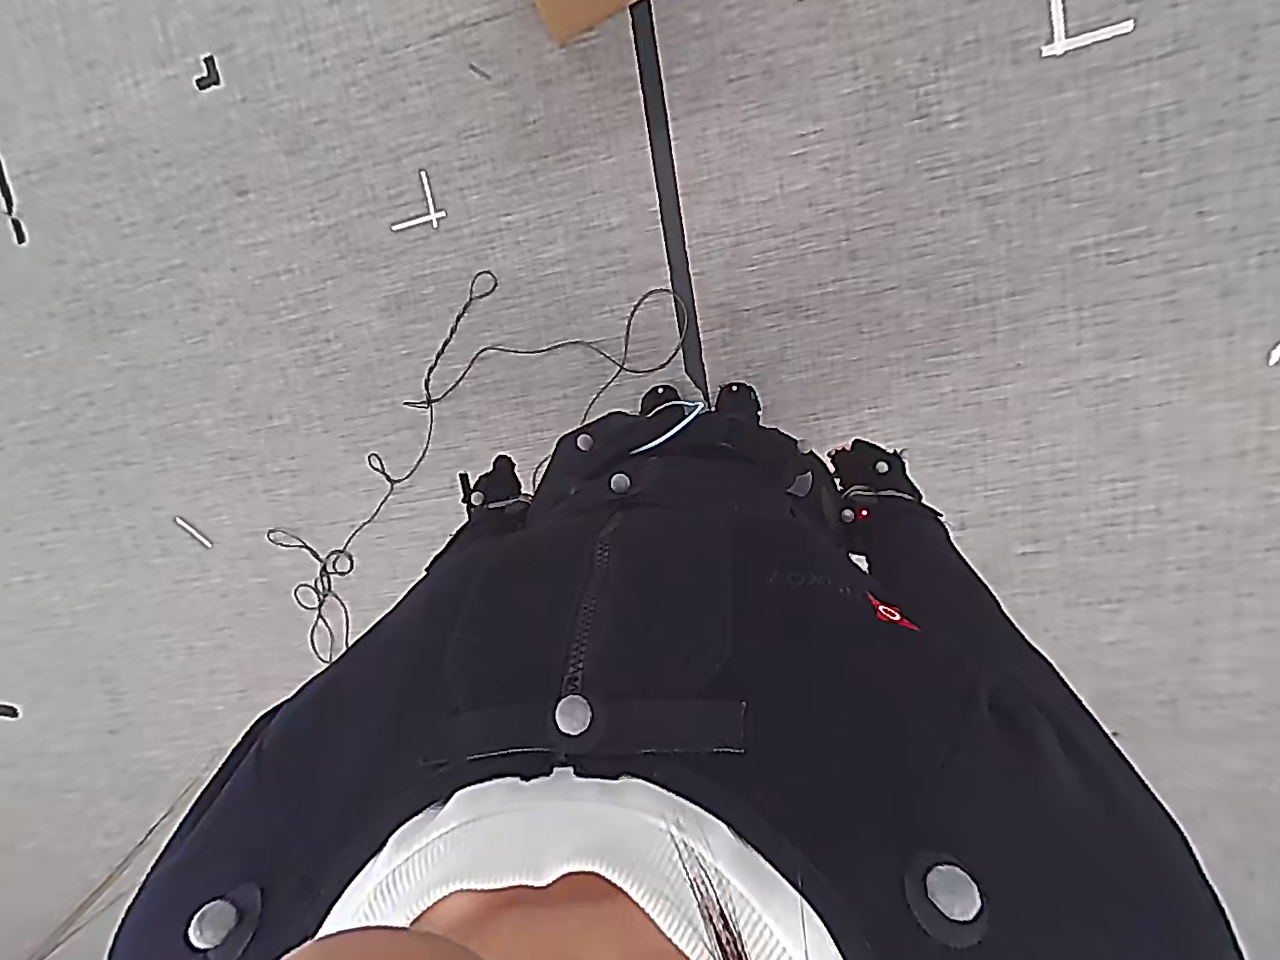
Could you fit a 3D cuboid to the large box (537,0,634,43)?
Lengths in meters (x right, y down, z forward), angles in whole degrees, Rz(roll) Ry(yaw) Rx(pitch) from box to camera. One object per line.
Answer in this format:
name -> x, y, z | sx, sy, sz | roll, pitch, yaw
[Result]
large box -> -0.092, -1.205, 1.077 | 0.408, 0.320, 0.320 | -21, 99, 10
